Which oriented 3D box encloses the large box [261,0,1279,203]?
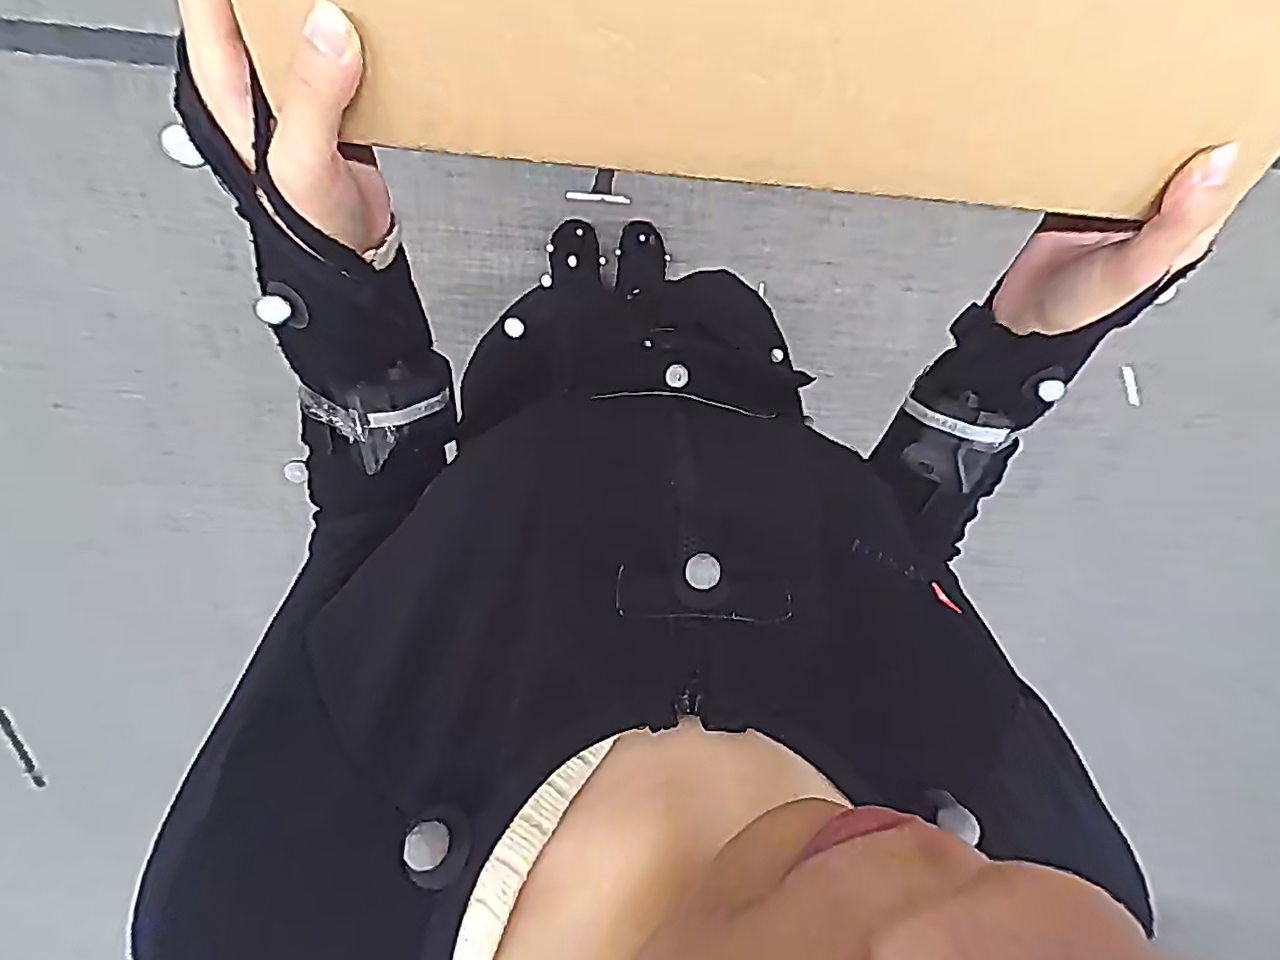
[{"bbox_3d":[0.067,-0.344,0.226,0.408,0.320,0.320,1,138,-7],"label":"large box"}]
